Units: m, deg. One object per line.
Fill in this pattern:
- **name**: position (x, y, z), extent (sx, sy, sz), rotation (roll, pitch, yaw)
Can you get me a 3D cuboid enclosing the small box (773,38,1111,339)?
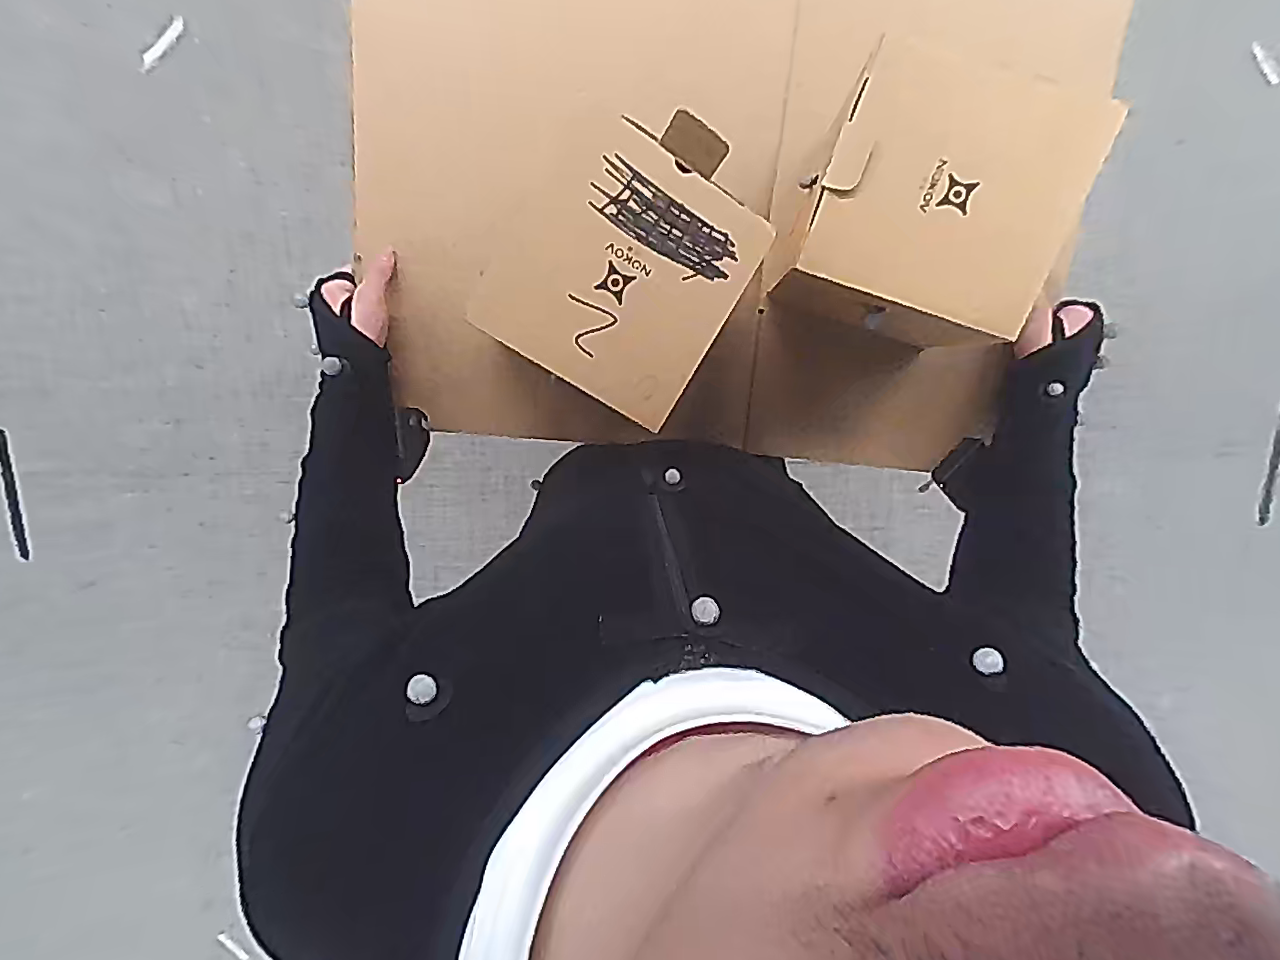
- **small box**: position (0.235, -0.231, 0.478), extent (0.179, 0.176, 0.168), rotation (19, 104, 3)
